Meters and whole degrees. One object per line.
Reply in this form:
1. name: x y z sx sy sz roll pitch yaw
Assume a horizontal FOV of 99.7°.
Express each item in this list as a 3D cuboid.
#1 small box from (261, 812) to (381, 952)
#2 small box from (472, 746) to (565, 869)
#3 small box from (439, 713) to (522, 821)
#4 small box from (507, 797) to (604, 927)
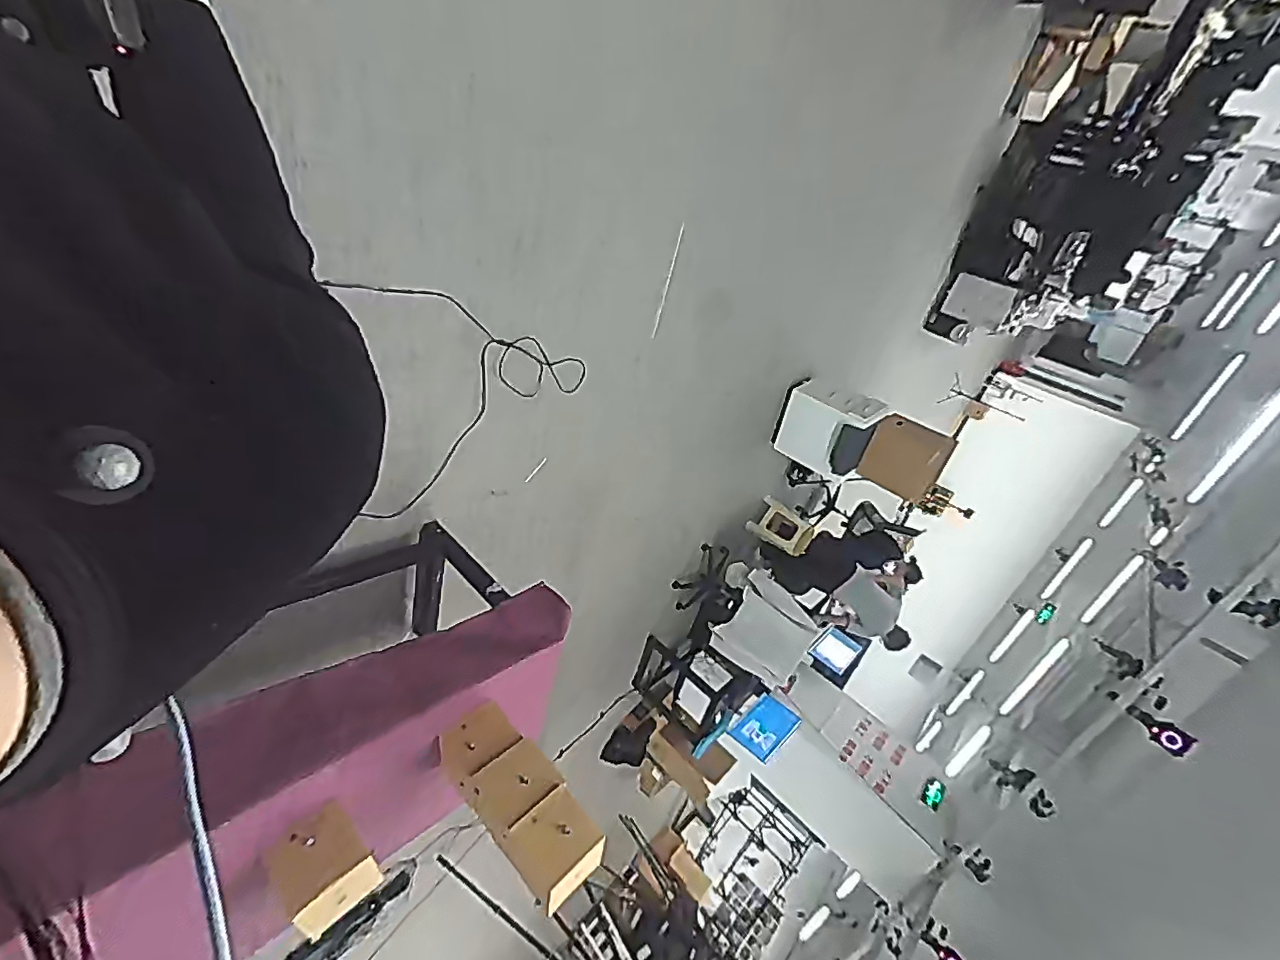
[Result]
1. small box: -0.717 0.899 1.221 0.168 0.176 0.179 -29 141 -38
2. small box: -0.319 0.839 1.400 0.179 0.176 0.168 -23 137 -41
3. small box: -0.442 0.781 1.495 0.168 0.176 0.179 -23 137 -41
4. small box: -0.208 0.912 1.305 0.168 0.176 0.179 -26 139 -38
